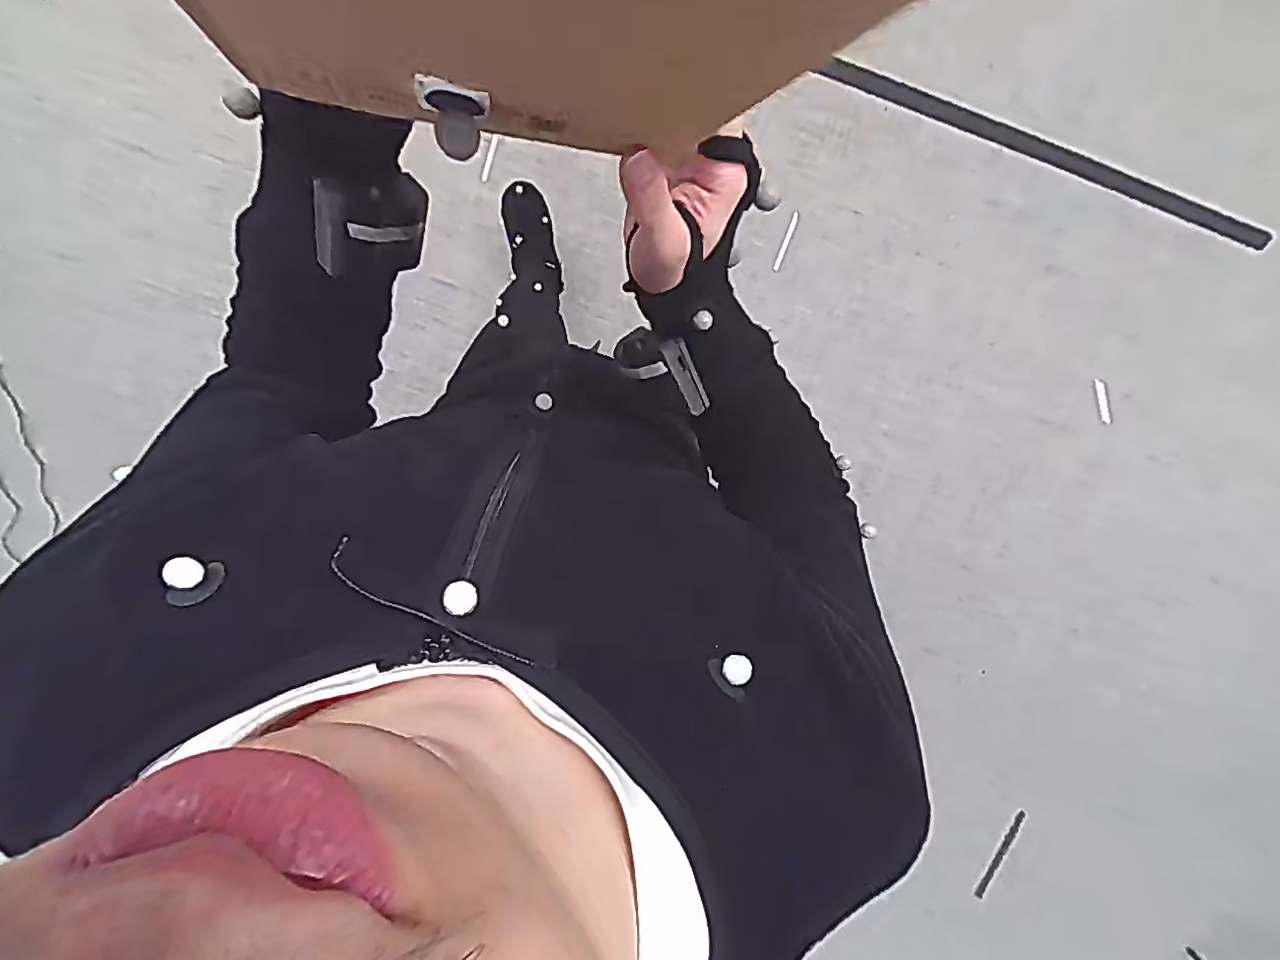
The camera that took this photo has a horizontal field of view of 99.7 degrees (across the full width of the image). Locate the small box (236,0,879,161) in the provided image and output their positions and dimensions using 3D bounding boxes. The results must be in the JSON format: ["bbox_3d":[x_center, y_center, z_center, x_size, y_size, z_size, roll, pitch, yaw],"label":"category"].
[{"bbox_3d":[-0.035,-0.212,0.142,0.168,0.176,0.179,-3,107,-18],"label":"small box"}]
